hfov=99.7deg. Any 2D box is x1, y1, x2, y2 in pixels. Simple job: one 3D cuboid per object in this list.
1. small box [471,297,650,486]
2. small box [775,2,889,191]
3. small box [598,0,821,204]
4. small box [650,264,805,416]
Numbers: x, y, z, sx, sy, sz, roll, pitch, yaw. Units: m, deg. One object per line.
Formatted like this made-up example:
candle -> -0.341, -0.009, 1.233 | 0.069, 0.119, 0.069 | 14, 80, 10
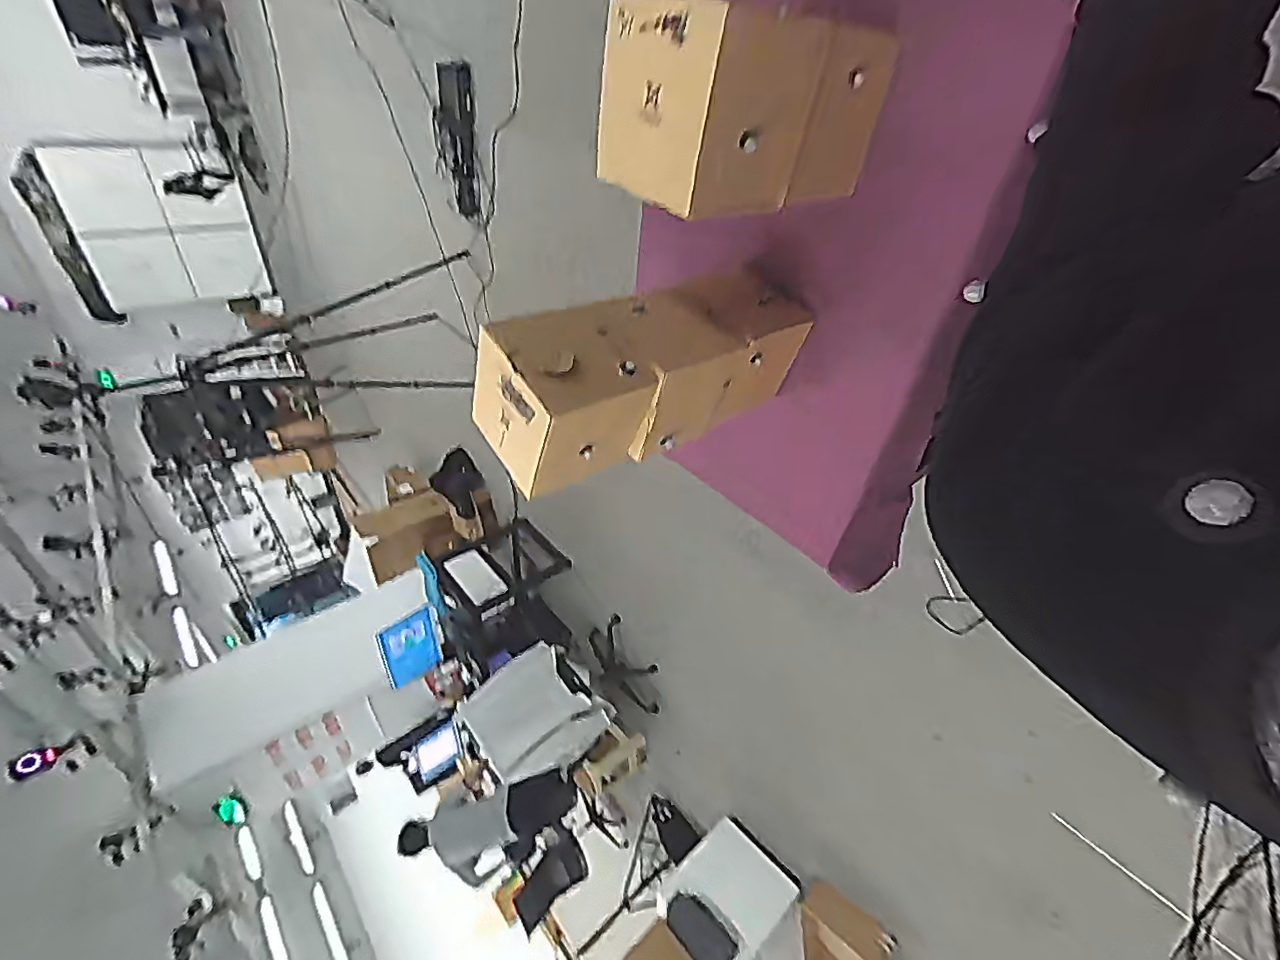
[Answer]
small box -> -0.109, -0.127, 0.743 | 0.168, 0.176, 0.179 | 52, 143, 20
small box -> 0.192, -0.495, 0.704 | 0.168, 0.176, 0.179 | 40, 138, 33
small box -> 0.073, -0.433, 0.608 | 0.168, 0.176, 0.179 | 41, 139, 31
small box -> 0.147, -0.241, 0.915 | 0.168, 0.176, 0.179 | 46, 140, 25
